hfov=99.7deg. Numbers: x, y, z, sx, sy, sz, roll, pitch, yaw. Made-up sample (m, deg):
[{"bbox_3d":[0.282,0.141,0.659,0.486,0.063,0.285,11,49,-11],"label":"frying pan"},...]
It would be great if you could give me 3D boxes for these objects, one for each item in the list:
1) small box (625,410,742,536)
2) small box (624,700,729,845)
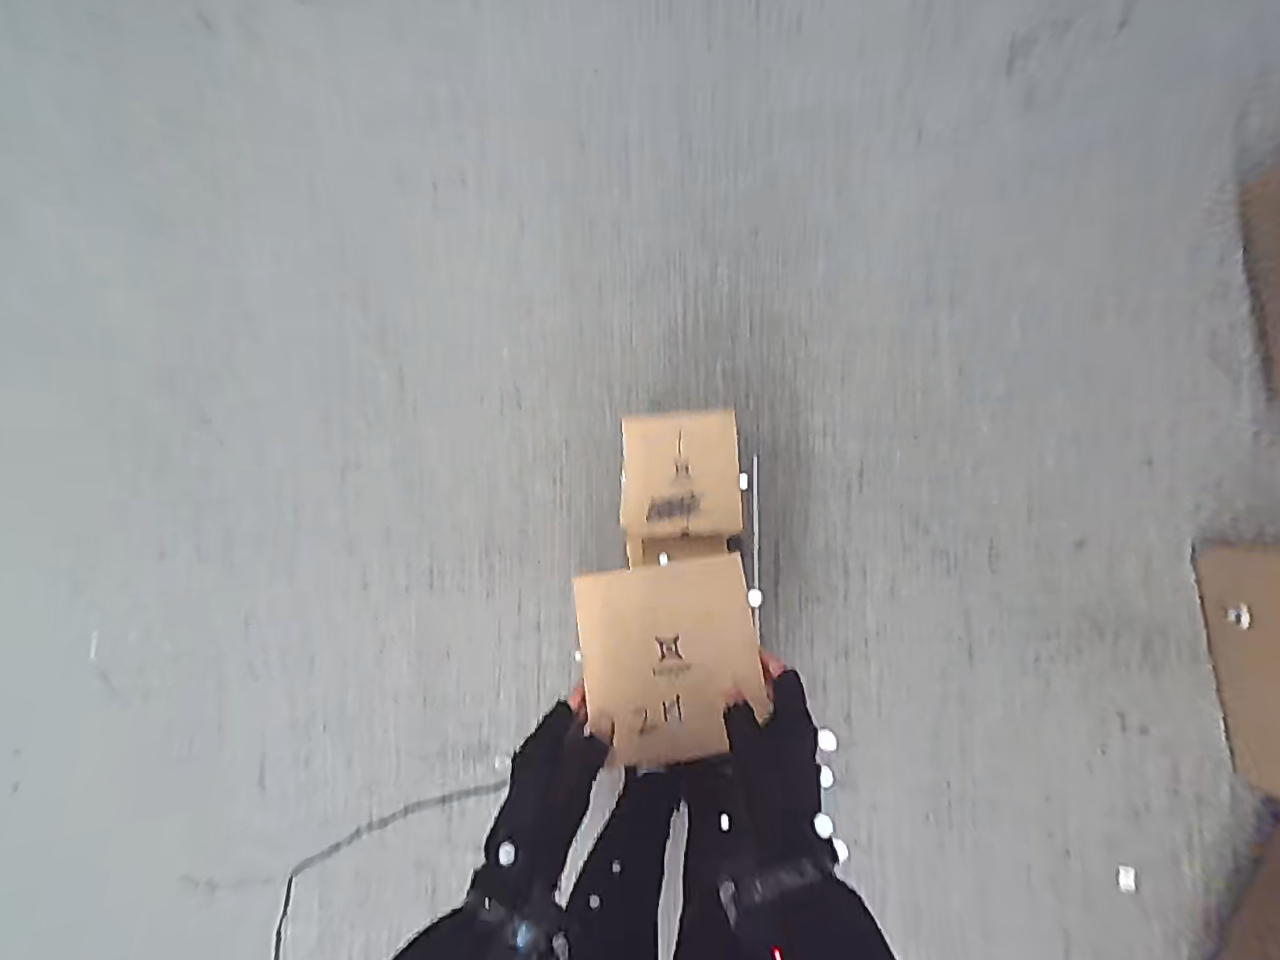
[{"bbox_3d":[0.073,-0.006,0.852,0.168,0.176,0.179,-3,86,7],"label":"small box"},{"bbox_3d":[0.062,0.545,1.025,0.168,0.176,0.179,7,91,-3],"label":"small box"}]
